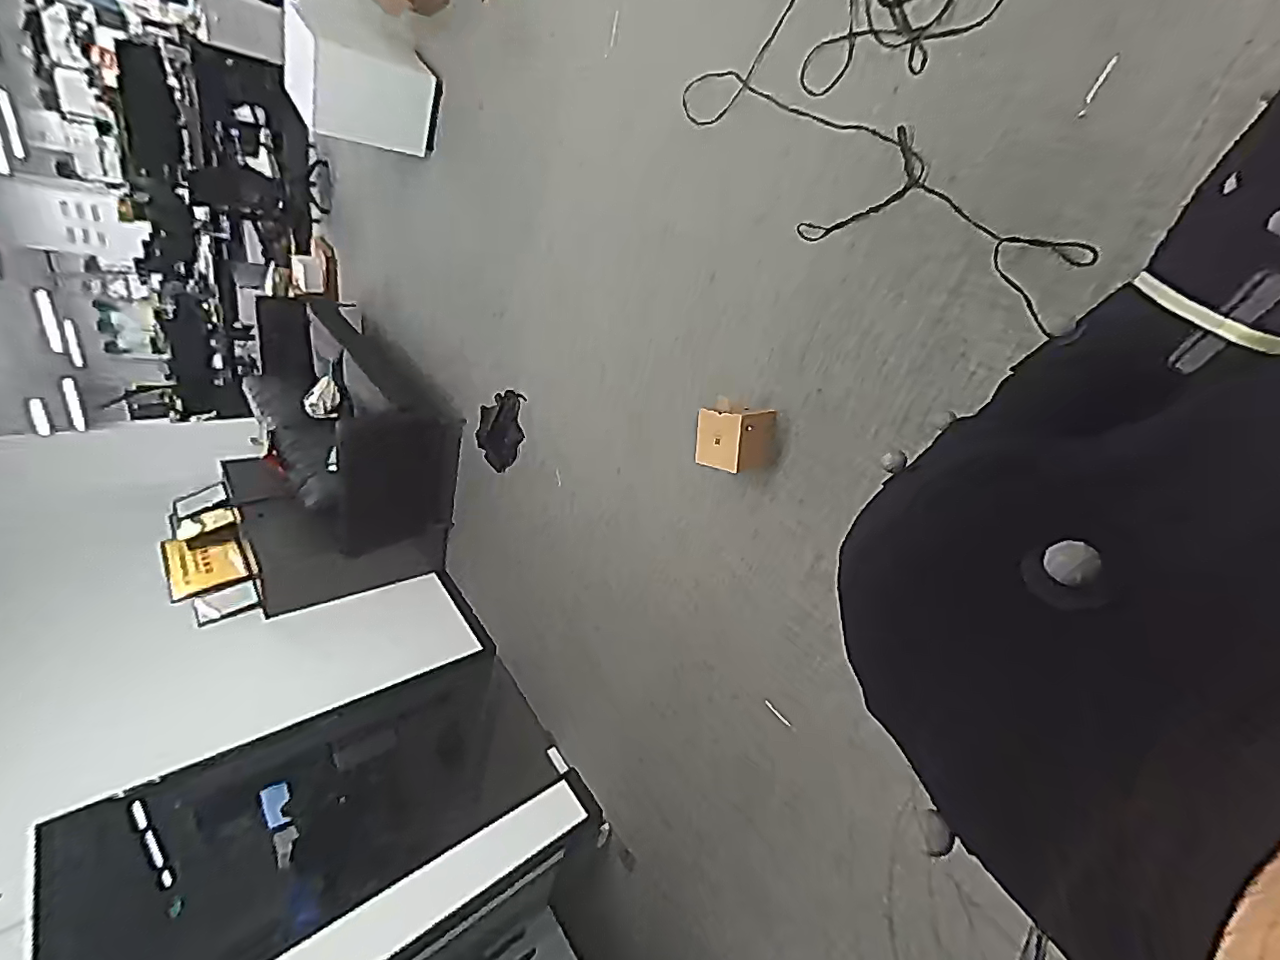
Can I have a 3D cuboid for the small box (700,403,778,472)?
[{"bbox_3d":[0.306,-0.136,1.664,0.168,0.176,0.179,19,112,45],"label":"small box"}]
